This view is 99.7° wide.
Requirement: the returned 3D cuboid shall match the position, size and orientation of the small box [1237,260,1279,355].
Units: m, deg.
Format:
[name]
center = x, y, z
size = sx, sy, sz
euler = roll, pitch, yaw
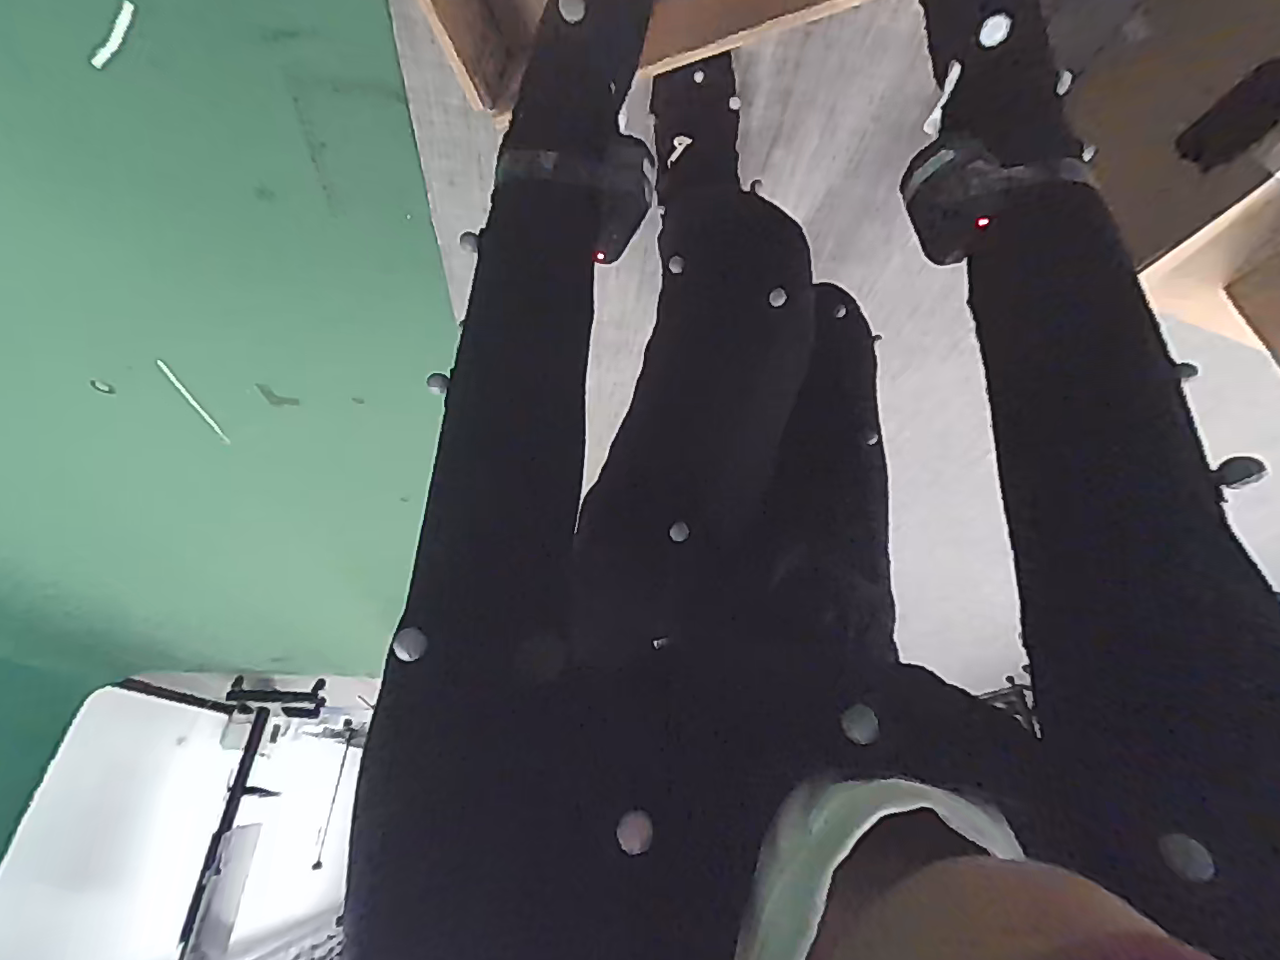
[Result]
[small box]
center = 0.749, -0.165, 0.509
size = 0.179, 0.176, 0.168
euler = 8, 150, -12
